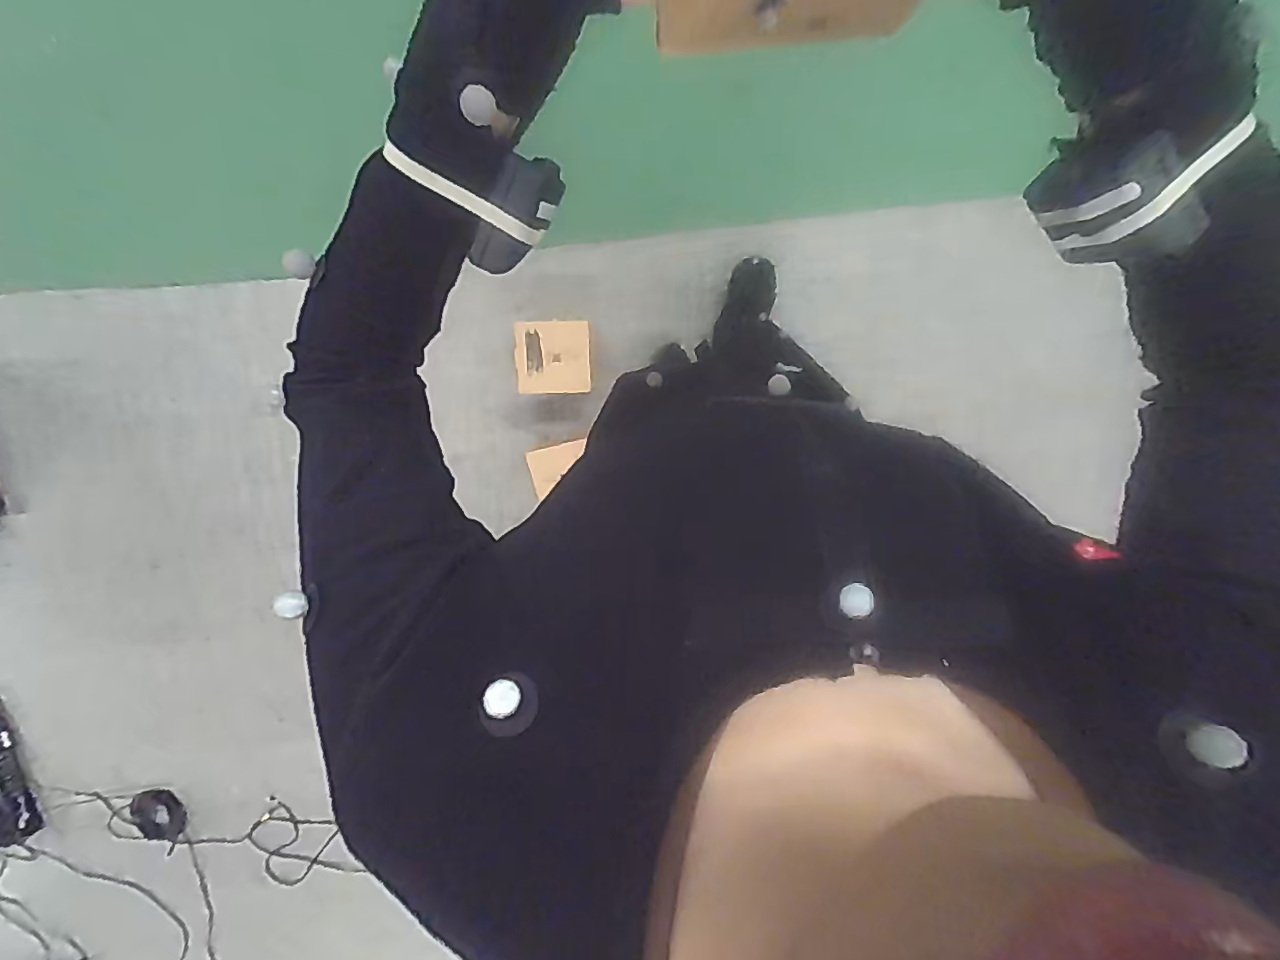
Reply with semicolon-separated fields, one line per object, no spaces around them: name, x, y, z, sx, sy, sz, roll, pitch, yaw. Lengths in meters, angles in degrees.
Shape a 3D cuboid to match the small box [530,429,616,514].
small box;-0.164;-0.029;1.389;0.179;0.176;0.168;-13;101;5
